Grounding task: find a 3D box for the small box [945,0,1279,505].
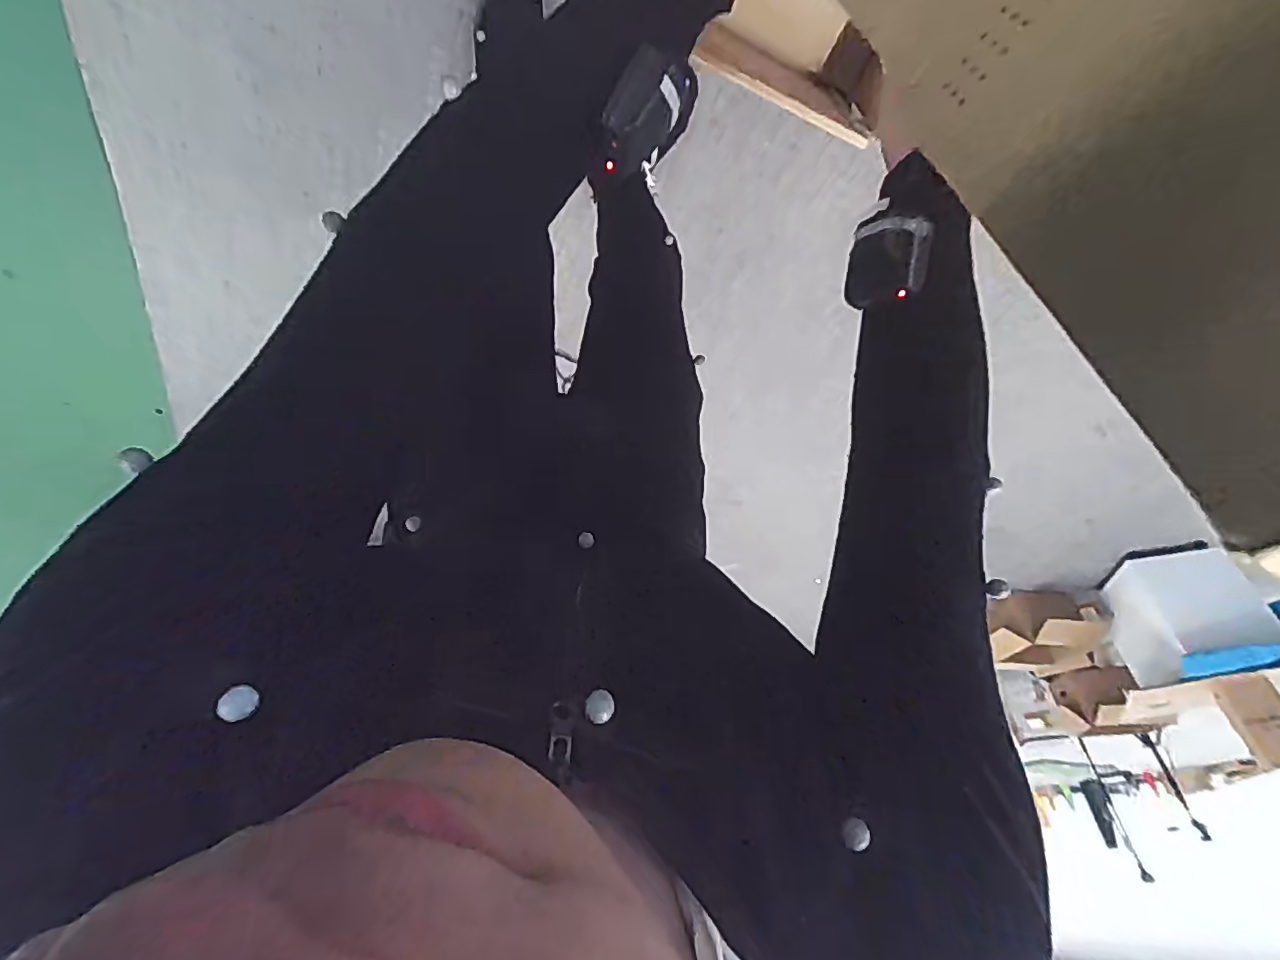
[{"bbox_3d":[0.199,-0.086,0.094,0.168,0.176,0.179,15,141,-21],"label":"small box"}]
